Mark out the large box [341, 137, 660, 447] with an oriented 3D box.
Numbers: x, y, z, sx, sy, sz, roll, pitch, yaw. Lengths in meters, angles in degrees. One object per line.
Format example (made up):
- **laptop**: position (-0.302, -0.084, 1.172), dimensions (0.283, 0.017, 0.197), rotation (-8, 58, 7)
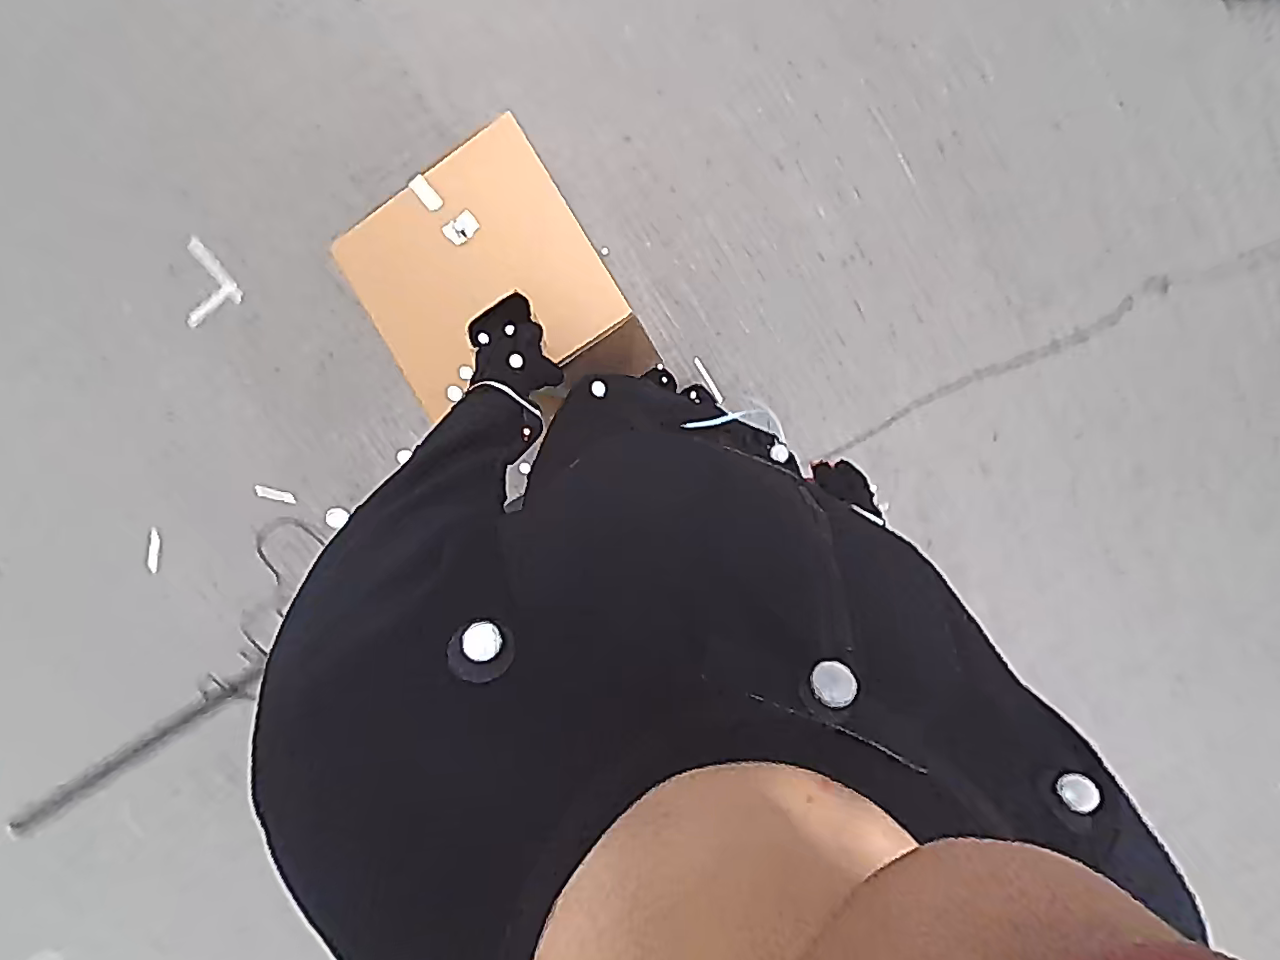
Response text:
- **large box**: position (-0.194, -0.271, 0.924), dimensions (0.320, 0.408, 0.320), rotation (-31, 91, 9)
